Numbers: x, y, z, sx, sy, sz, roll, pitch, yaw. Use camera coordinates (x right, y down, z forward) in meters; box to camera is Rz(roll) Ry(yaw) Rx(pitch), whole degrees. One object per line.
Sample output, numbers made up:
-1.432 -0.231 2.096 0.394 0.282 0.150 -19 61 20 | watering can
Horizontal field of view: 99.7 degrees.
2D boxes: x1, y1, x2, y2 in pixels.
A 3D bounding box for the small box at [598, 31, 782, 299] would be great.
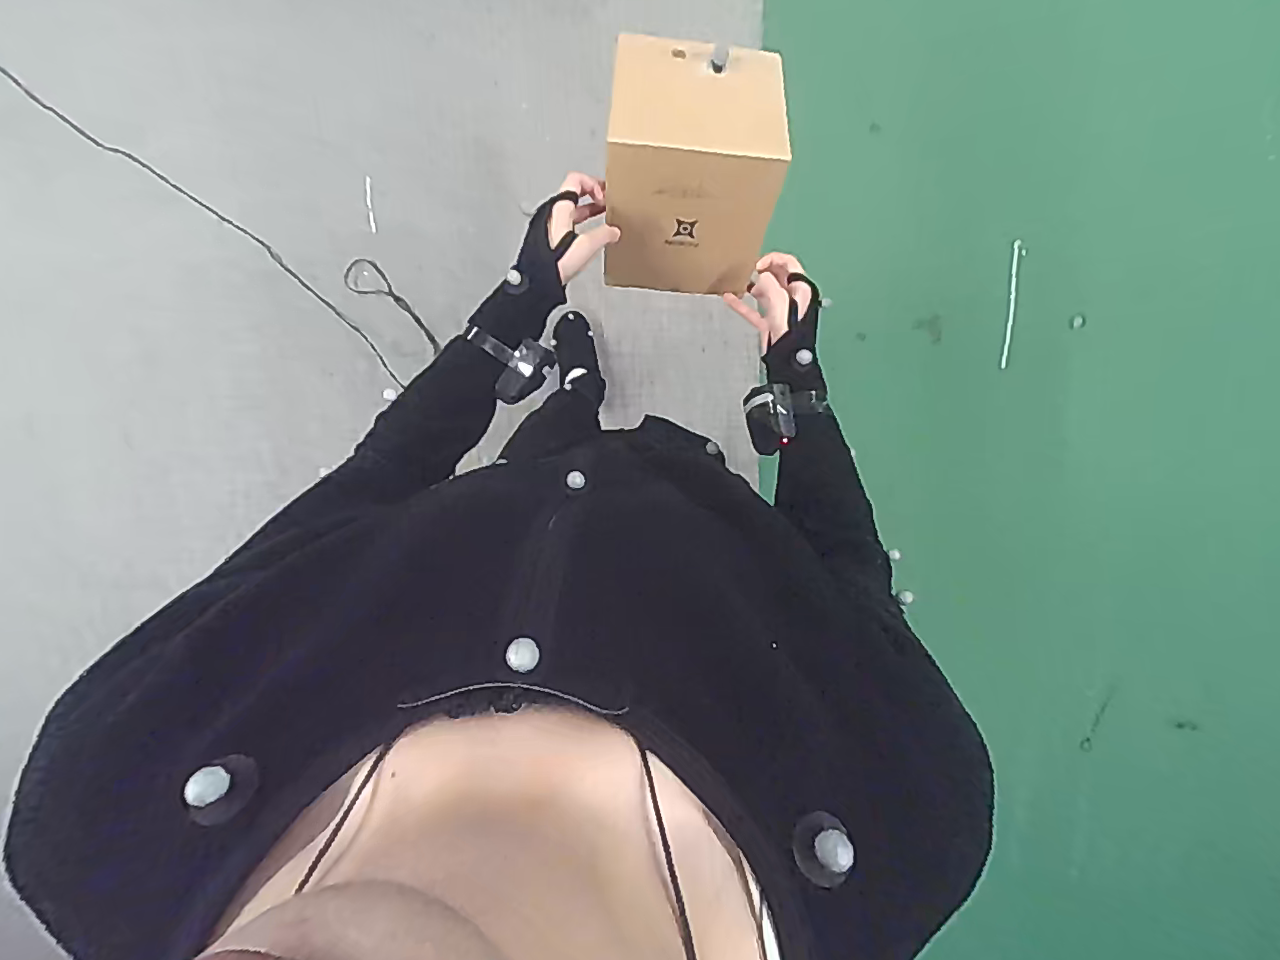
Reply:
0.045 -0.326 0.580 0.168 0.179 0.176 4 66 -3 | small box
